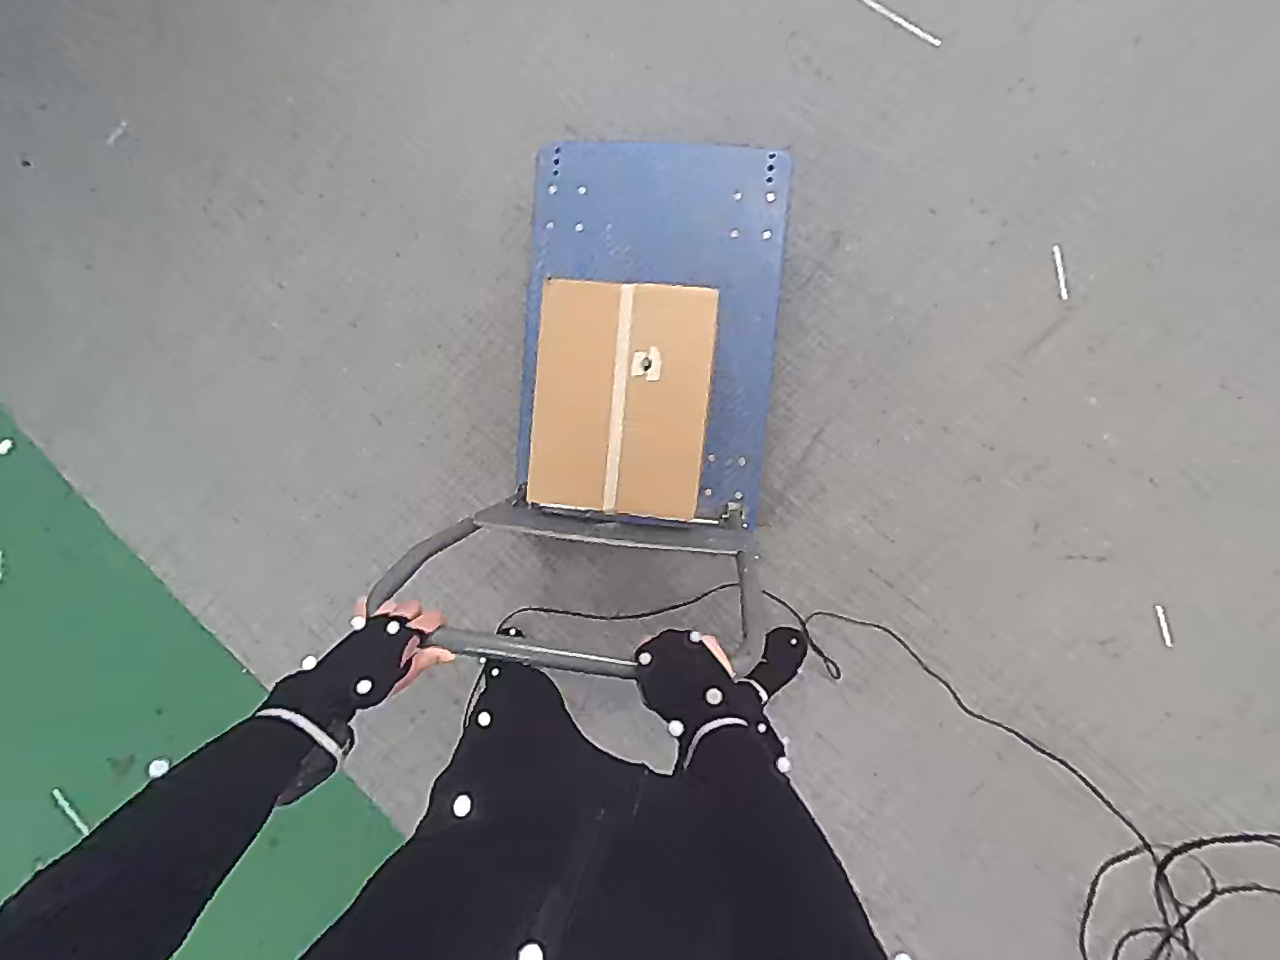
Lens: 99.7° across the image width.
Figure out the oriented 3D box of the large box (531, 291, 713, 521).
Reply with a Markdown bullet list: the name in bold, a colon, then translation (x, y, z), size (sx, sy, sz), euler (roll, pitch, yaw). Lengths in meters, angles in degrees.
- **large box**: translation (-0.018, -0.140, 1.113), size (0.320, 0.320, 0.408), euler (5, 94, 7)
